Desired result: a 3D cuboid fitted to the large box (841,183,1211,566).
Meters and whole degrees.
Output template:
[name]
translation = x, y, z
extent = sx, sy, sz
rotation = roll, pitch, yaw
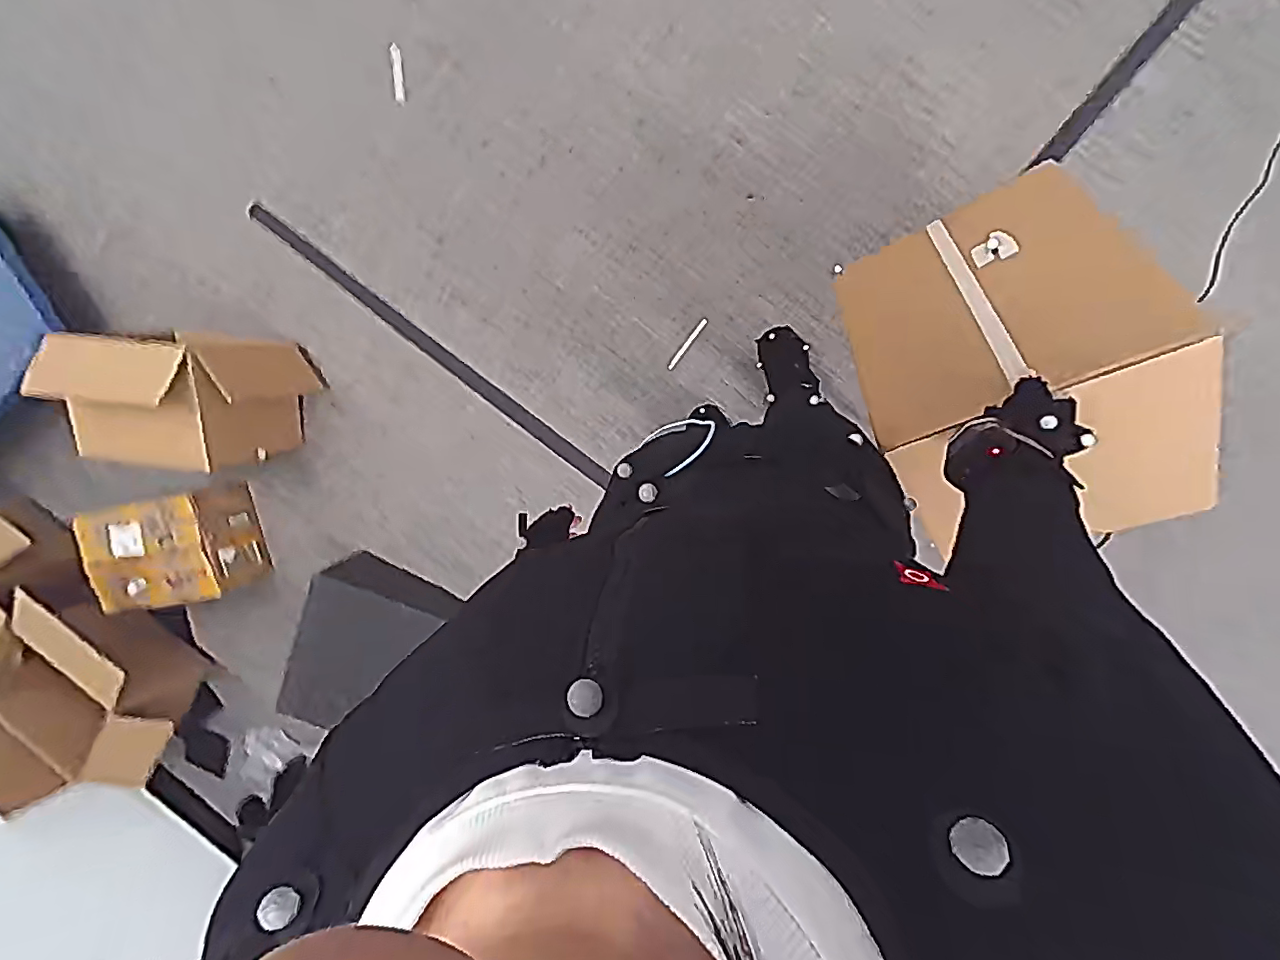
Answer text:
[large box]
translation = 0.535, -0.143, 0.804
extent = 0.320, 0.408, 0.320
rotation = -21, 132, 30
